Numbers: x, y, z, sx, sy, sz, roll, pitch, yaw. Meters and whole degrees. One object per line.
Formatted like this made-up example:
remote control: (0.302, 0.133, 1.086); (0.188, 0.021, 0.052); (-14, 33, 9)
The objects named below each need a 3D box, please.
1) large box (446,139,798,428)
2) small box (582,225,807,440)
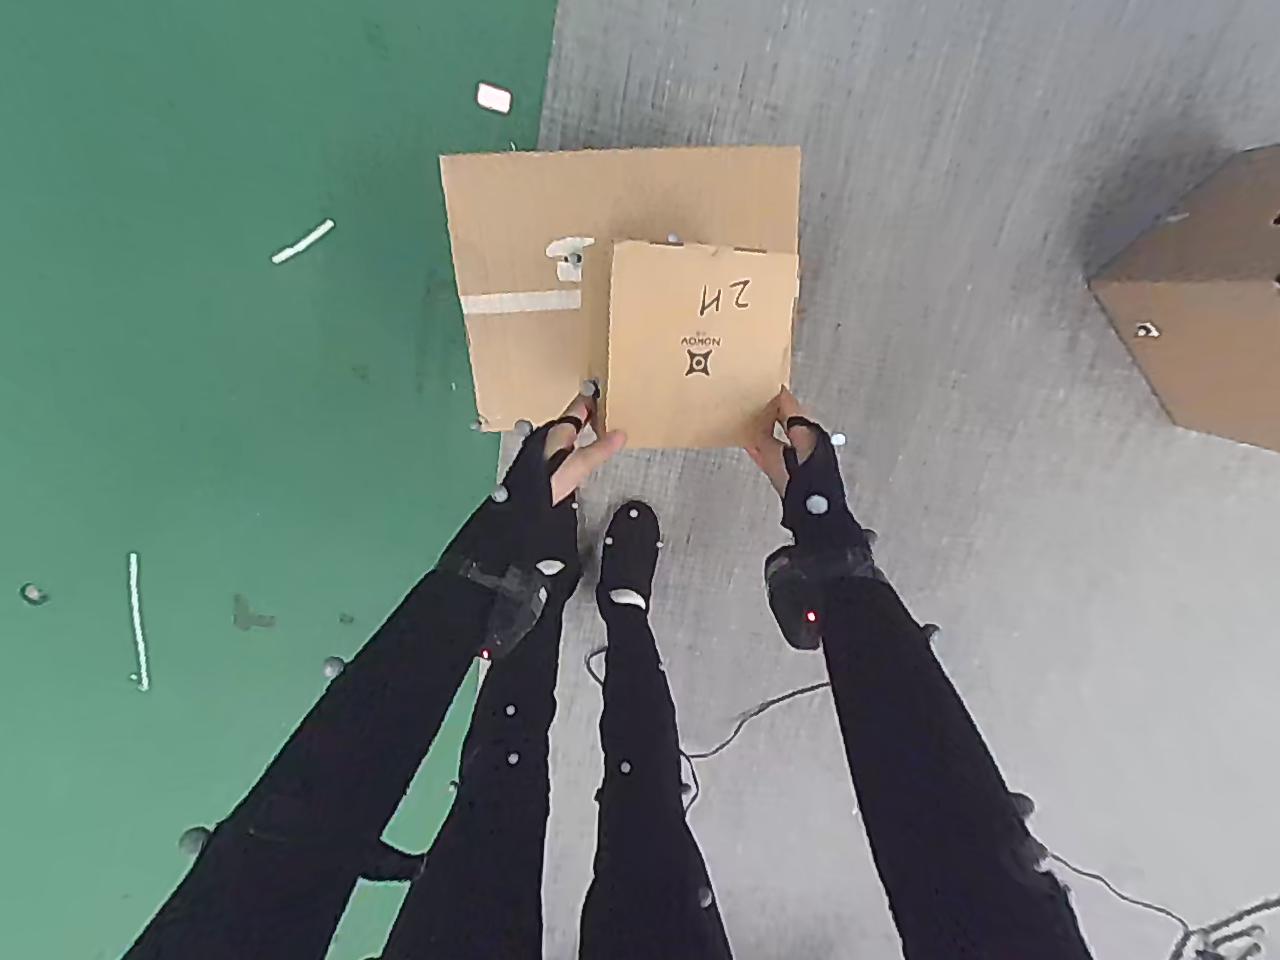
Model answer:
large box: (-0.018, -0.276, 0.789); (0.408, 0.320, 0.320); (-4, 109, -3)
small box: (0.037, -0.146, 0.541); (0.168, 0.176, 0.179); (-1, 110, -16)
